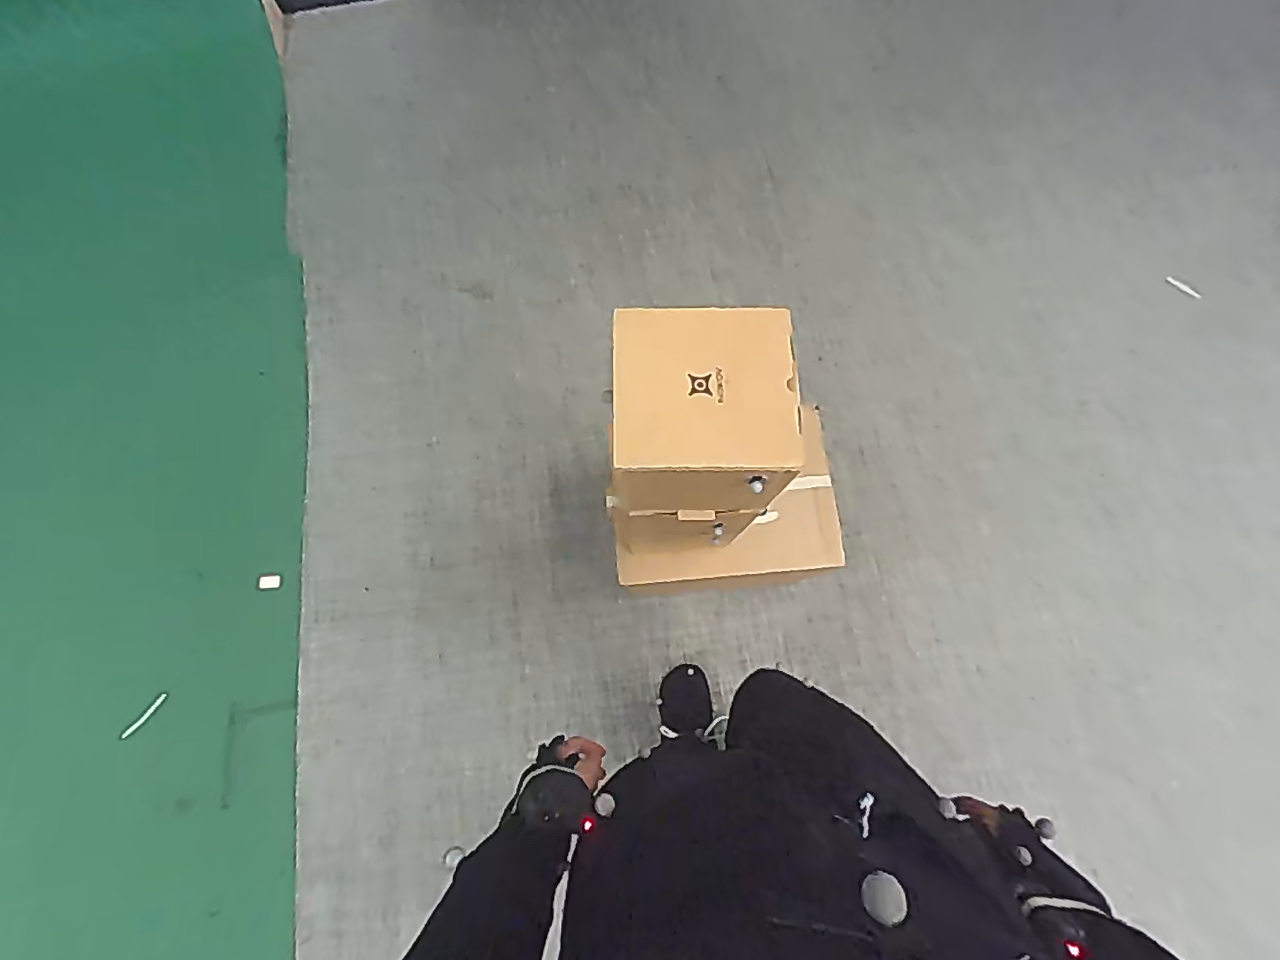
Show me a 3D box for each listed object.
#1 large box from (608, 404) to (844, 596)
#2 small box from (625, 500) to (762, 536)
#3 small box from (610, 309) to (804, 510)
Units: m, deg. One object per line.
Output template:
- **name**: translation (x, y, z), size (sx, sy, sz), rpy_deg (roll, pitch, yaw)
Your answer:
- **large box**: translation (0.151, 0.059, 1.135), size (0.408, 0.320, 0.320), rpy_deg (-5, 76, -1)
- **small box**: translation (0.062, -0.020, 0.737), size (0.168, 0.176, 0.179), rpy_deg (-2, 74, -2)
- **small box**: translation (0.060, -0.064, 0.580), size (0.179, 0.176, 0.168), rpy_deg (0, 74, -1)
